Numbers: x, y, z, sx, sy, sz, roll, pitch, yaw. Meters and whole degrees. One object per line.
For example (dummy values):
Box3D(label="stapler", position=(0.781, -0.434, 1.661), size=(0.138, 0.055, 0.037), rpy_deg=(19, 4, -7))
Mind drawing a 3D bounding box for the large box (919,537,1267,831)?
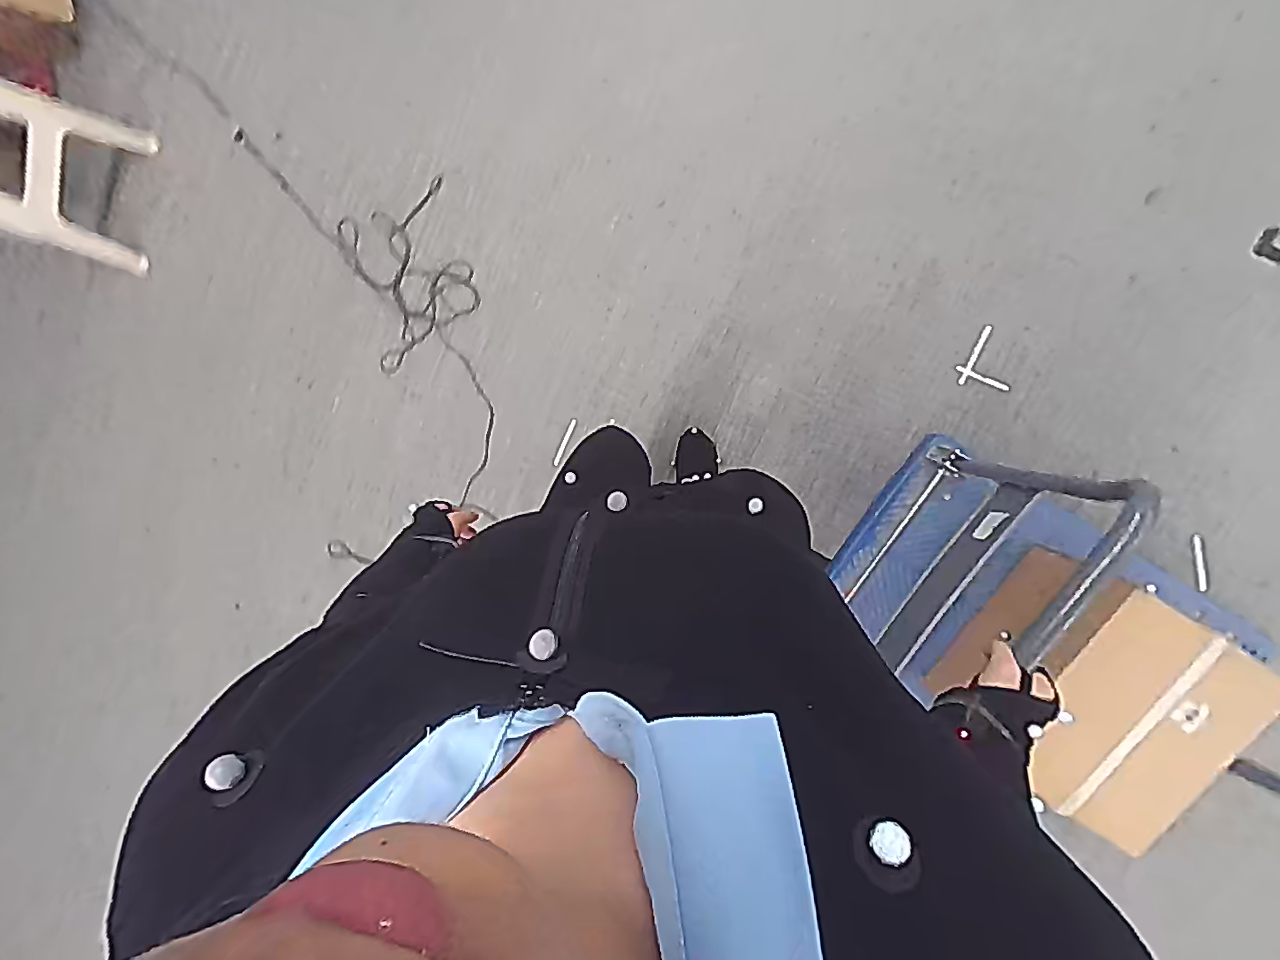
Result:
Box3D(label="large box", position=(0.874, 0.387, 1.116), size=(0.320, 0.320, 0.408), rpy_deg=(33, 98, 2))
